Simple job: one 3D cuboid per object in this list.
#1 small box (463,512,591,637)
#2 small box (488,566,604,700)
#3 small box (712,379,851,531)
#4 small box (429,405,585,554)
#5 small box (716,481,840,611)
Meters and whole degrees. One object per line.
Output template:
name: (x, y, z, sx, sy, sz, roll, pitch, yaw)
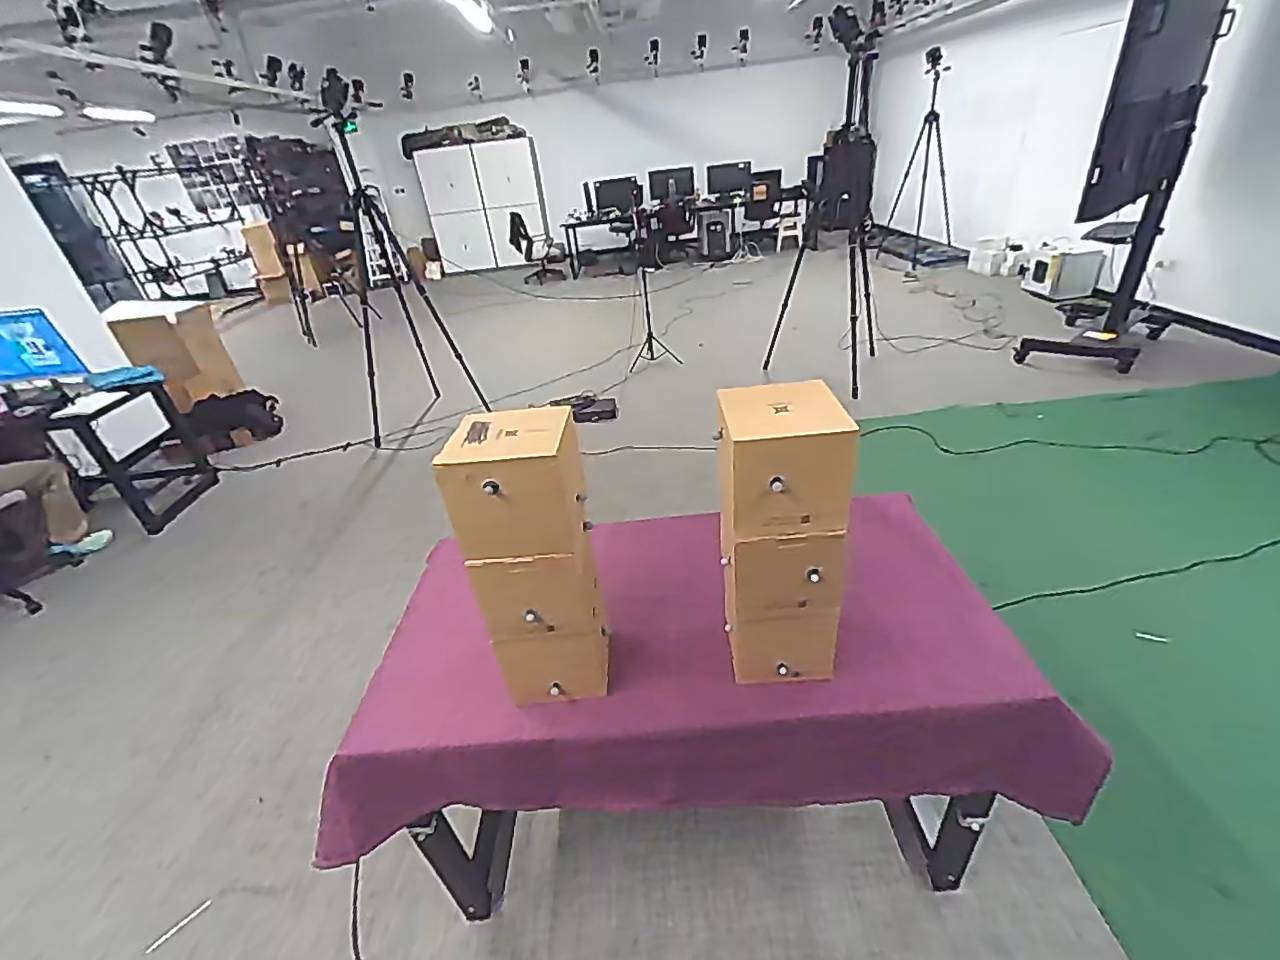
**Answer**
small box: (-0.179, 0.140, 0.917, 0.168, 0.176, 0.179, -6, 32, 3)
small box: (-0.161, 0.282, 1.000, 0.179, 0.176, 0.168, -6, 31, 1)
small box: (0.203, -0.035, 0.814, 0.168, 0.176, 0.179, -5, 32, 2)
small box: (-0.191, 0.000, 0.831, 0.179, 0.176, 0.168, -4, 32, 3)
small box: (0.221, 0.102, 0.899, 0.168, 0.176, 0.179, -5, 32, 3)
